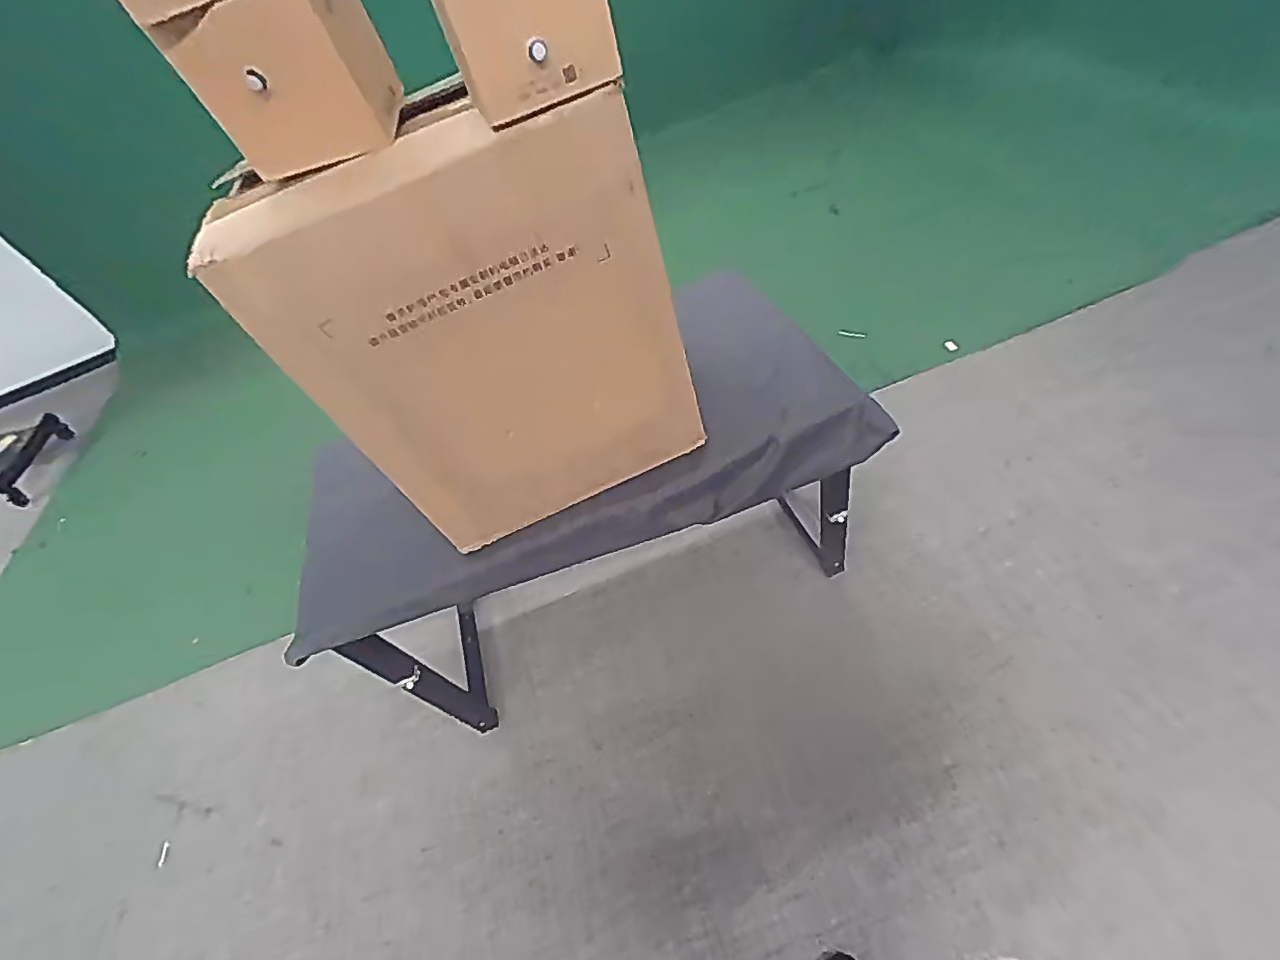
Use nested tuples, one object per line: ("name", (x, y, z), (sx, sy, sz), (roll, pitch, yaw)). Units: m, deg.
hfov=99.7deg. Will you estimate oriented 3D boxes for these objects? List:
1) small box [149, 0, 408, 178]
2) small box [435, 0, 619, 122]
("small box", (-0.414, -0.501, 0.654), (0.179, 0.176, 0.168), (-13, 58, 6))
("small box", (-0.139, -0.536, 0.610), (0.168, 0.176, 0.179), (-24, 50, -3))
